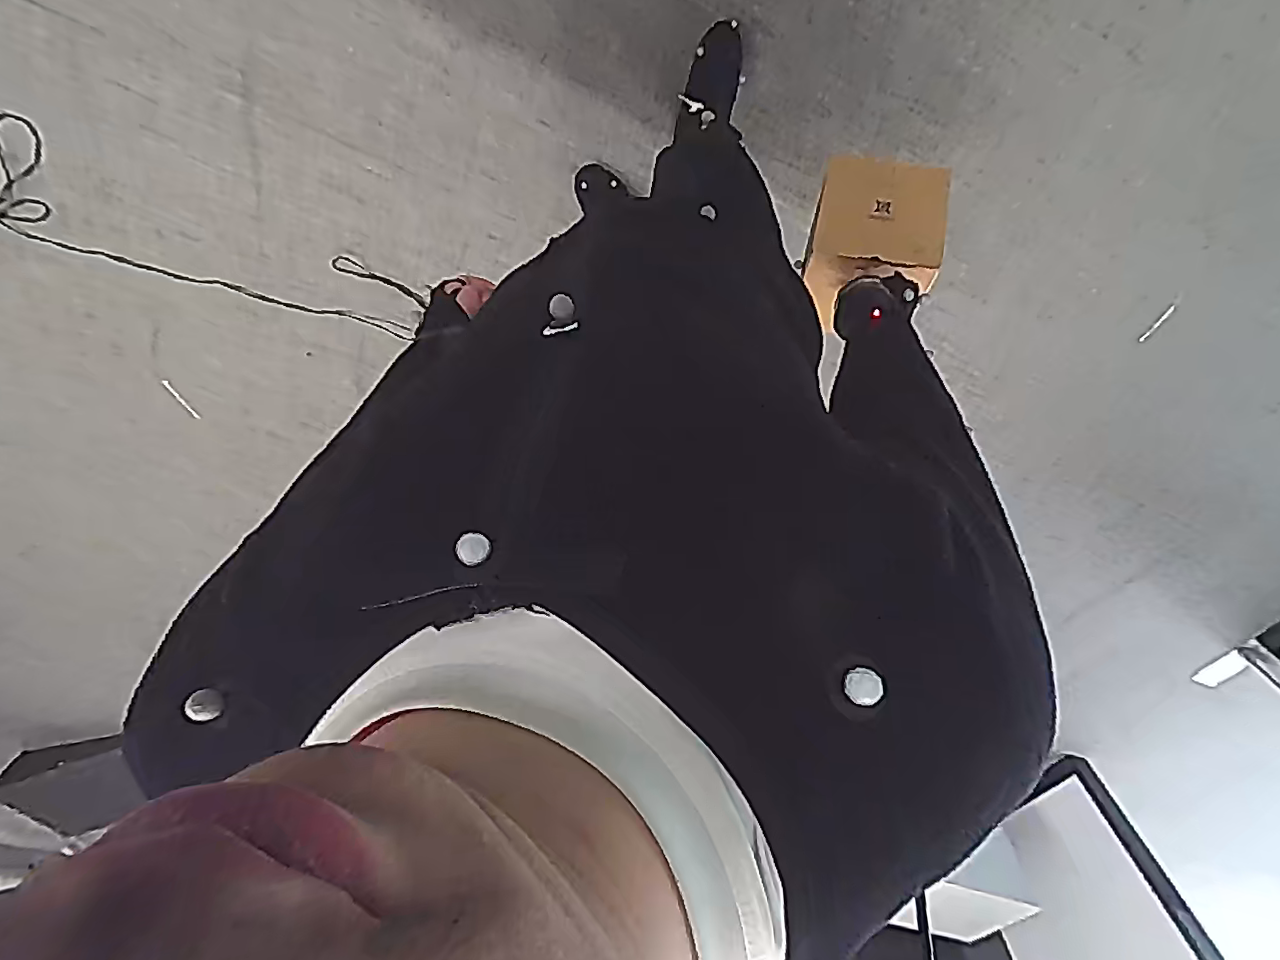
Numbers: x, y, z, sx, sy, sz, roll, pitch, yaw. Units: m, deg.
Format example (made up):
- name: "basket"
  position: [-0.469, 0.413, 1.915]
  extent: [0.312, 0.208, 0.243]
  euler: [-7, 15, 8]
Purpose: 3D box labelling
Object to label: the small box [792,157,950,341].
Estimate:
- name: "small box"
  position: [0.328, -0.330, 0.794]
  extent: [0.168, 0.179, 0.176]
  euler: [12, 161, 9]
